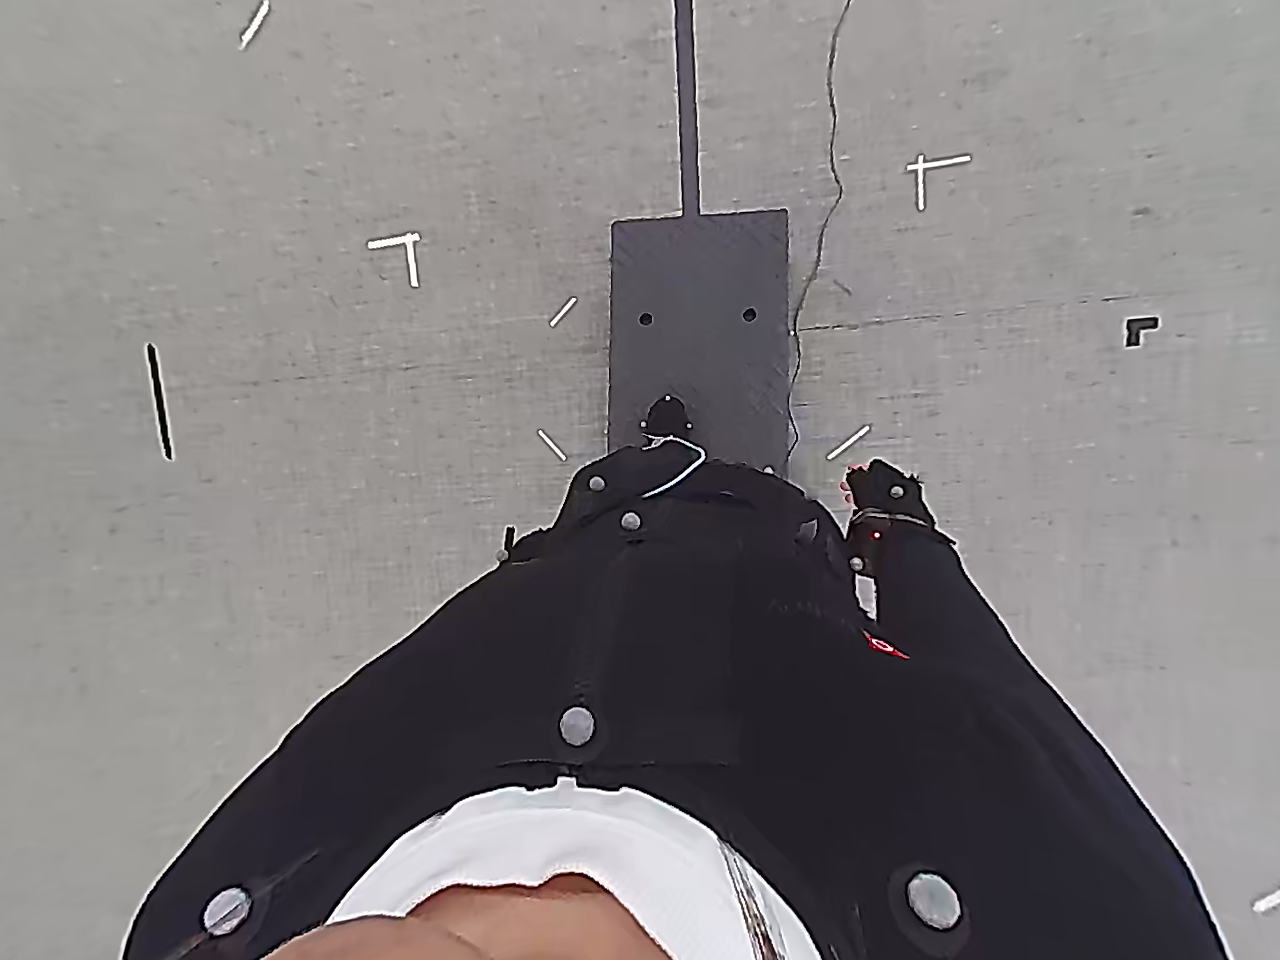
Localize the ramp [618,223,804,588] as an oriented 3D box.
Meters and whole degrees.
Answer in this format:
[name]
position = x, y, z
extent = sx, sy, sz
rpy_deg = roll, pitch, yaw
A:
[ramp]
position = 0.178, -0.210, 1.486
extent = 0.509, 0.206, 0.991
rpy_deg = -3, 93, 11
